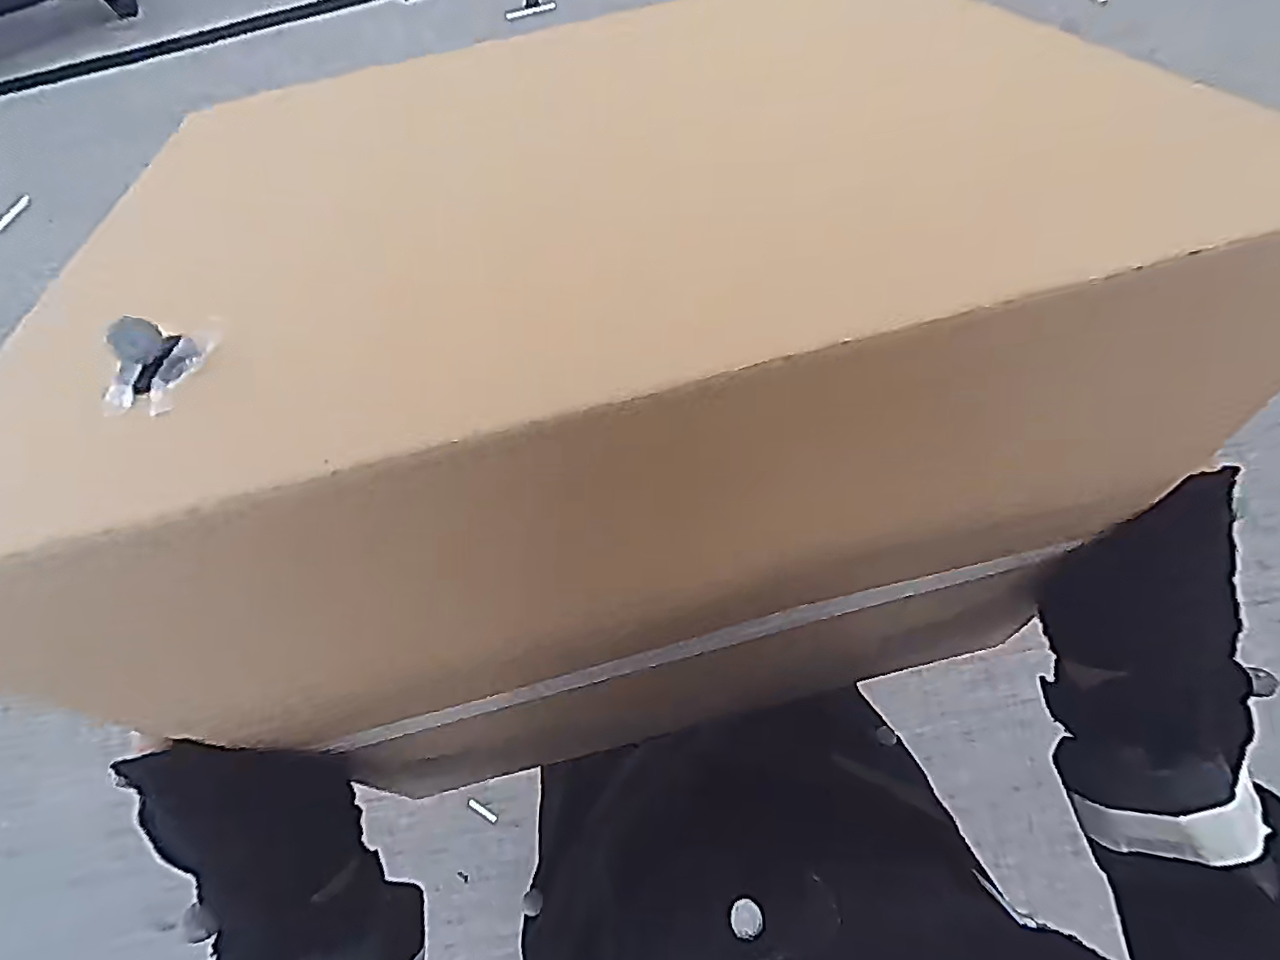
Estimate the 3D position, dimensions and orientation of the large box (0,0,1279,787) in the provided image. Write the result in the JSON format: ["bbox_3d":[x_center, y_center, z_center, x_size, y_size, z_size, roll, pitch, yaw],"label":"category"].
[{"bbox_3d":[-0.005,-0.045,0.345,0.408,0.320,0.320,-14,53,-1],"label":"large box"}]
